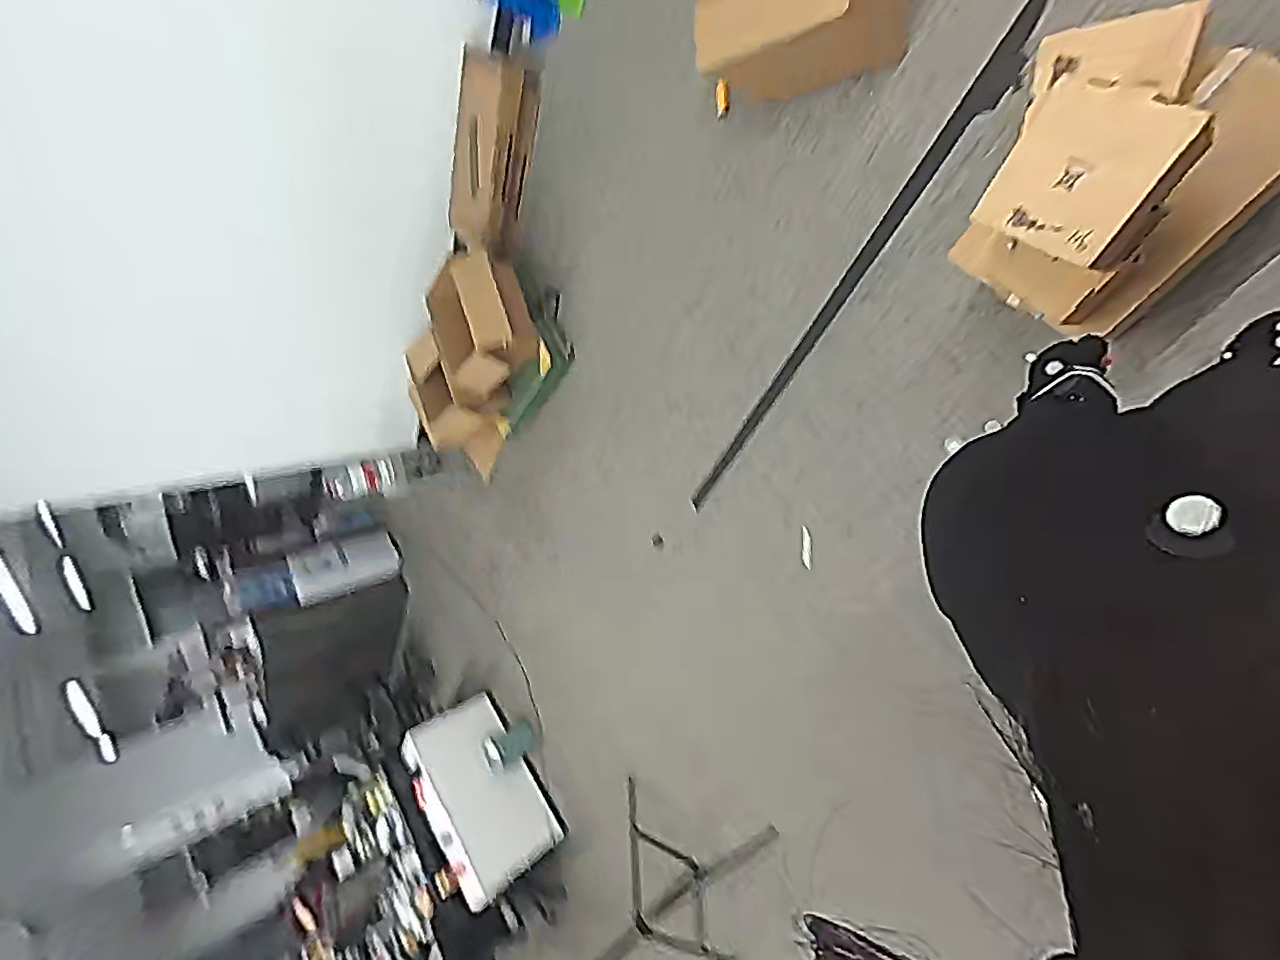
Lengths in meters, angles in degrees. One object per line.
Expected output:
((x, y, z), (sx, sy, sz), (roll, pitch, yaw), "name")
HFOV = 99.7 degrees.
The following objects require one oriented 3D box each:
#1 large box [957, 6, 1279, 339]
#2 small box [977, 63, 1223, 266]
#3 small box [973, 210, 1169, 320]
((0.884, -0.509, 0.974), (0.320, 0.320, 0.408), (48, 132, 25), "large box")
((0.593, -0.401, 0.710), (0.168, 0.176, 0.179), (44, 131, 28), "small box")
((0.688, -0.374, 0.864), (0.179, 0.176, 0.168), (49, 131, 26), "small box")
